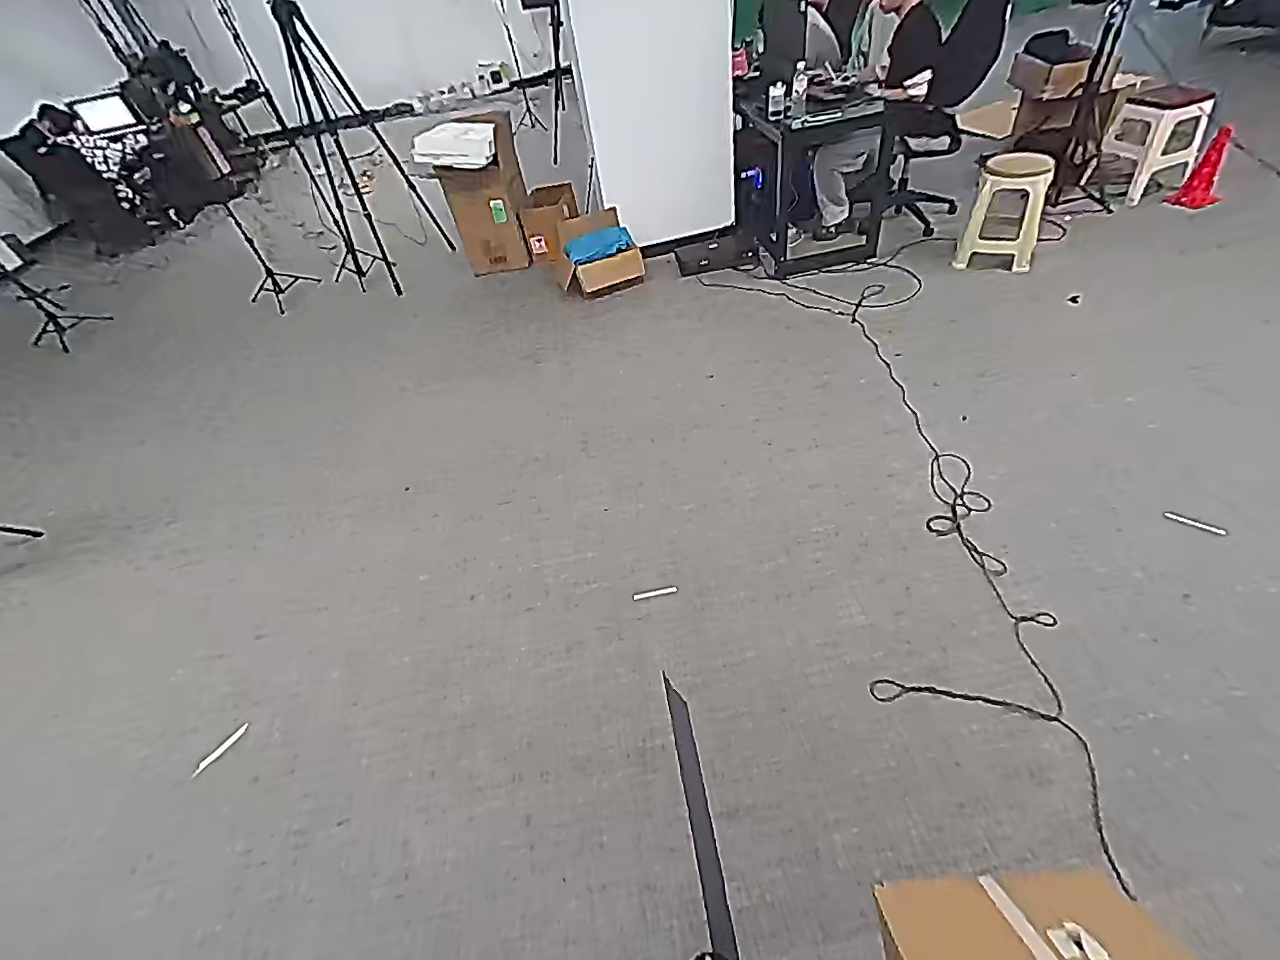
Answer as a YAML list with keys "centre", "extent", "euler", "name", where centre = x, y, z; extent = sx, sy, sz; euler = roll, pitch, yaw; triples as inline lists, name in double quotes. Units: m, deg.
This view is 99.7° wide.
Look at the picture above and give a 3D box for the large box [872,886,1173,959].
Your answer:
- centre: [0.487, 0.722, 0.571]
  extent: [0.320, 0.408, 0.320]
  euler: [-7, 81, 7]
  name: "large box"
